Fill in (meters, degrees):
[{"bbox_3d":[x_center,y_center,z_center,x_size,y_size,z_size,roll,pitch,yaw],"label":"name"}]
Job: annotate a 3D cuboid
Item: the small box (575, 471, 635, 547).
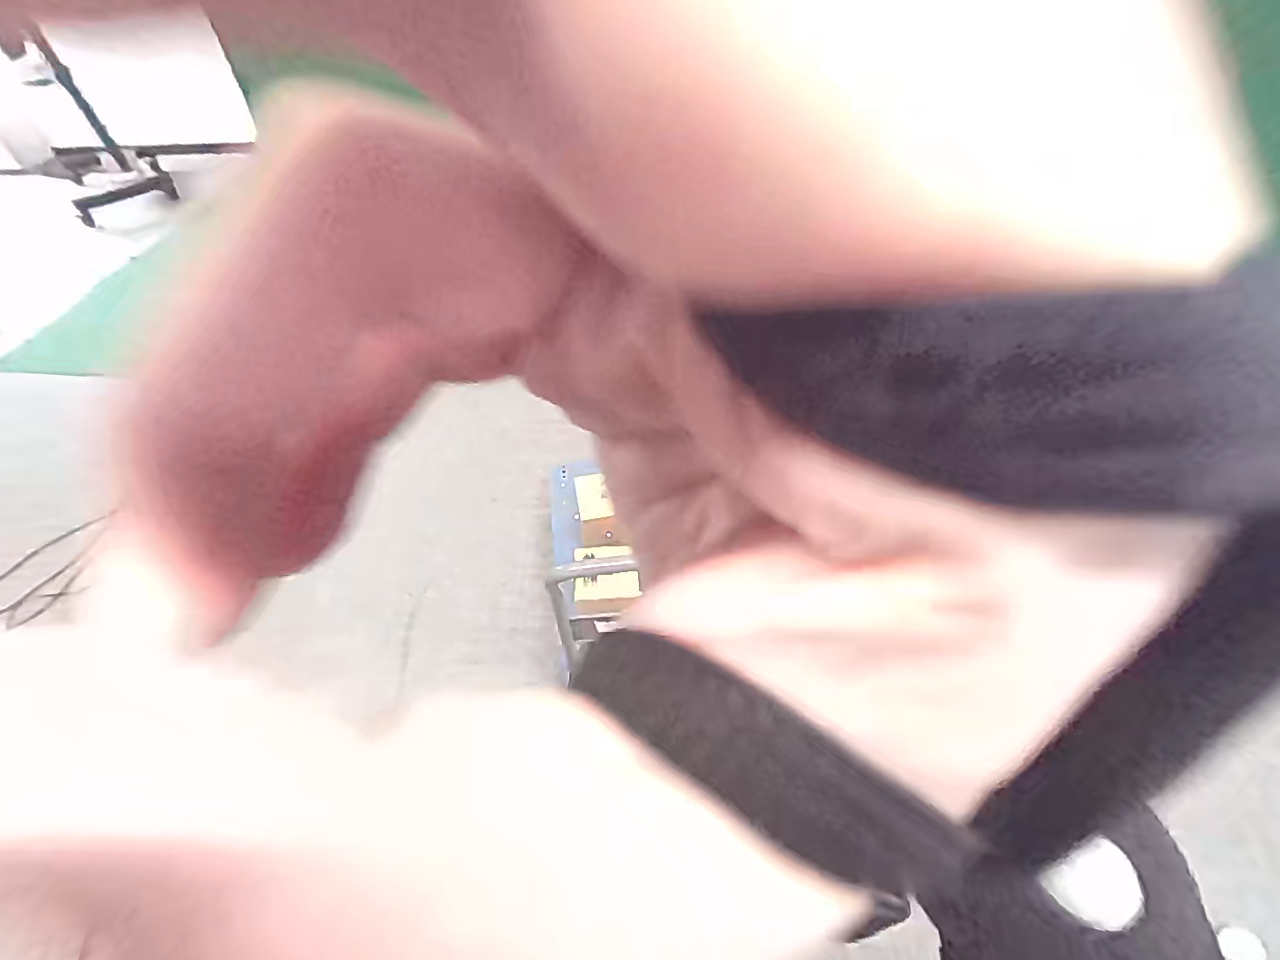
[{"bbox_3d":[-0.111,0.100,1.737,0.168,0.176,0.179,-9,50,-8],"label":"small box"}]
